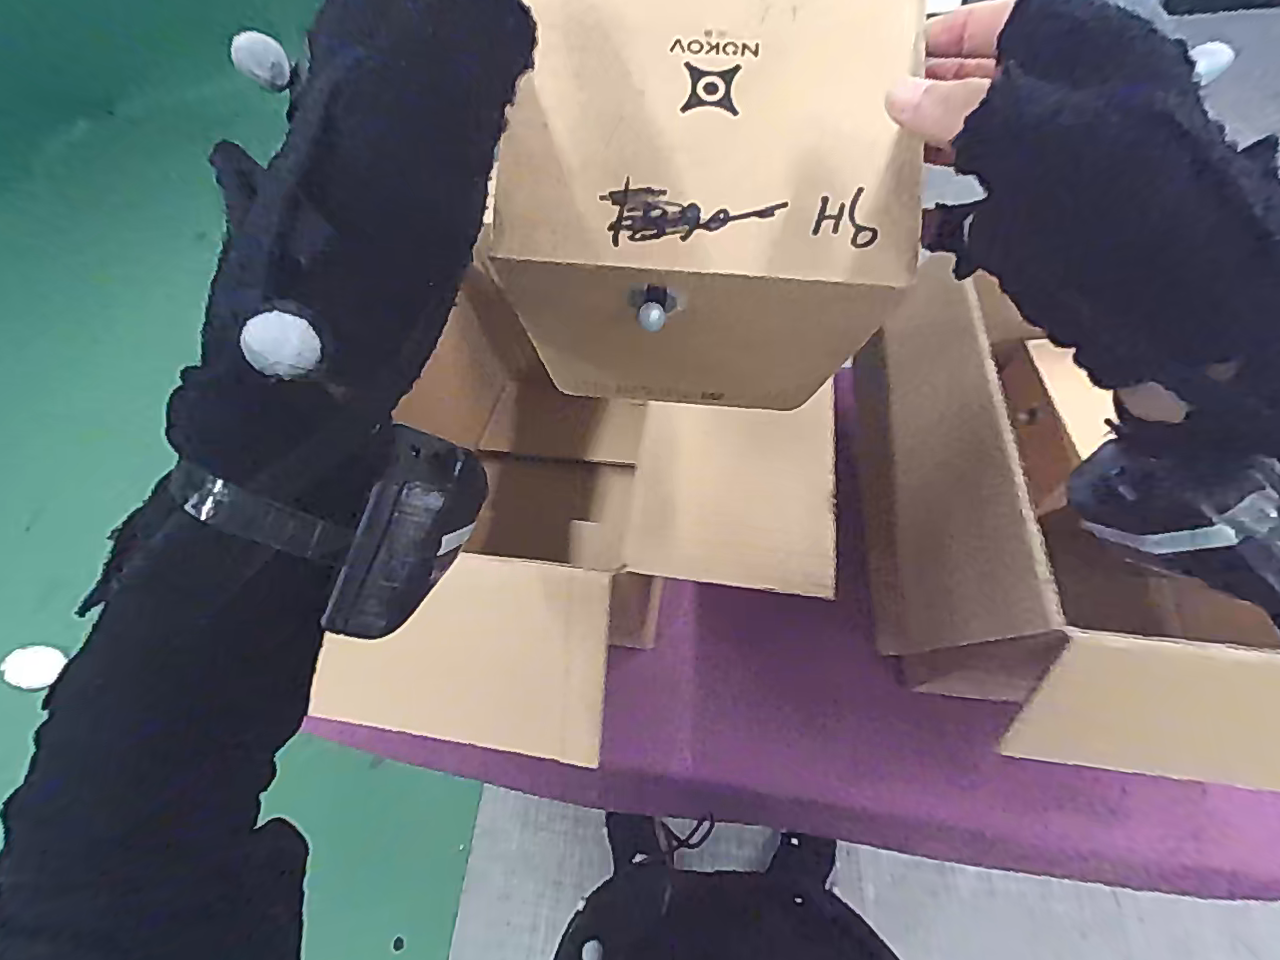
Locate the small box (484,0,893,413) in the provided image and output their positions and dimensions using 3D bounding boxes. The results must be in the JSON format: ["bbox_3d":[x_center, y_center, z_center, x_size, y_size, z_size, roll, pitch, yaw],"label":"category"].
[{"bbox_3d":[0.026,-0.152,0.311,0.168,0.176,0.179,5,80,3],"label":"small box"}]
